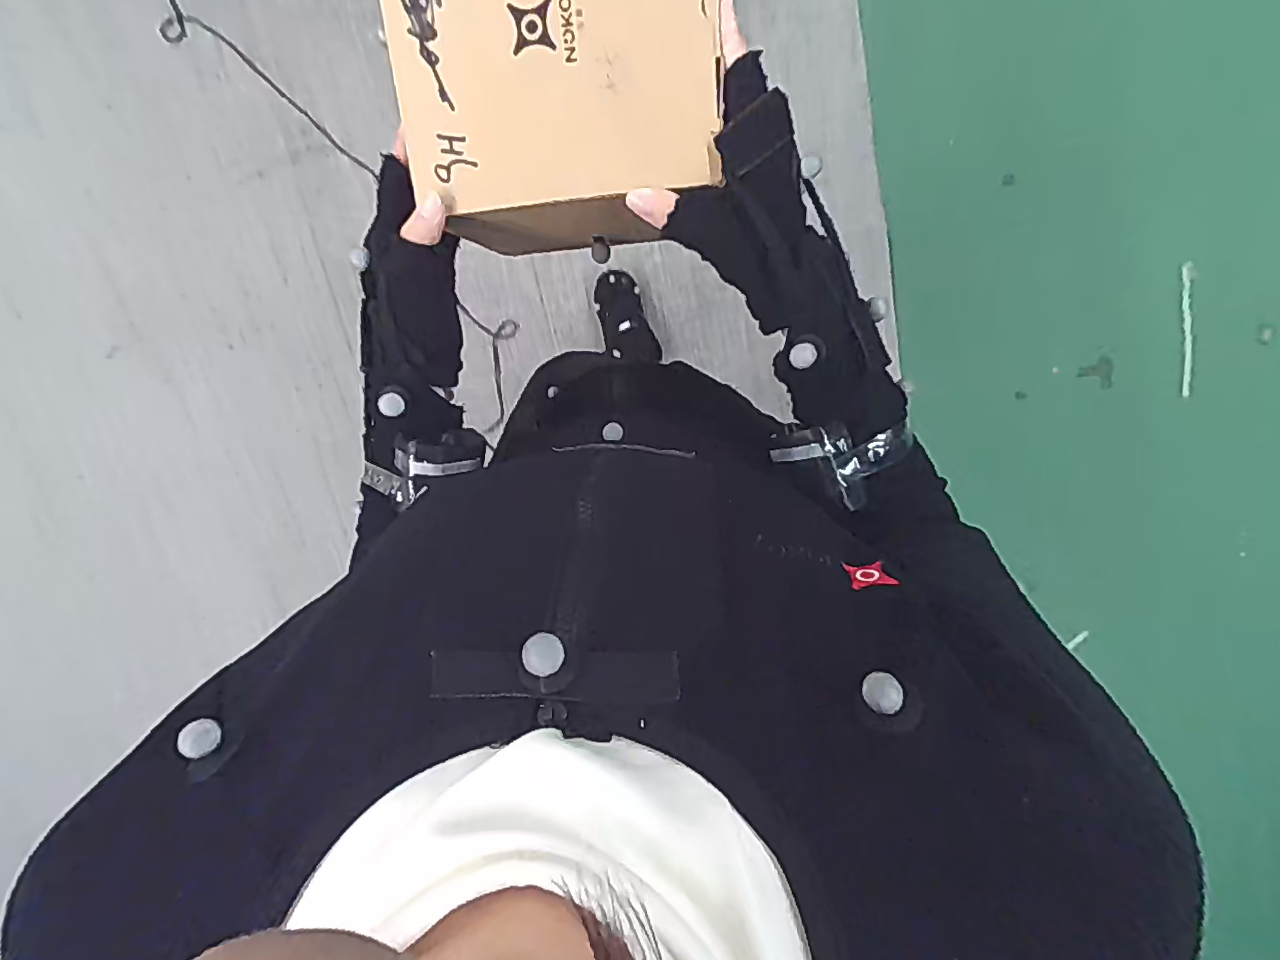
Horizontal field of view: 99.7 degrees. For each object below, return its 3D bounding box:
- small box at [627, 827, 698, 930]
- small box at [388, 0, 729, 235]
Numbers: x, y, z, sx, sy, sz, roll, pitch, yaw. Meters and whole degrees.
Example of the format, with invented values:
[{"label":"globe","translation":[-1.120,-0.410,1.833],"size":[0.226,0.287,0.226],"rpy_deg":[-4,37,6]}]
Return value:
[{"label":"small box","translation":[0.065,1.159,1.581],"size":[0.179,0.176,0.168],"rpy_deg":[-11,102,3]},{"label":"small box","translation":[-0.041,-0.269,0.356],"size":[0.179,0.176,0.168],"rpy_deg":[-4,104,4]}]
